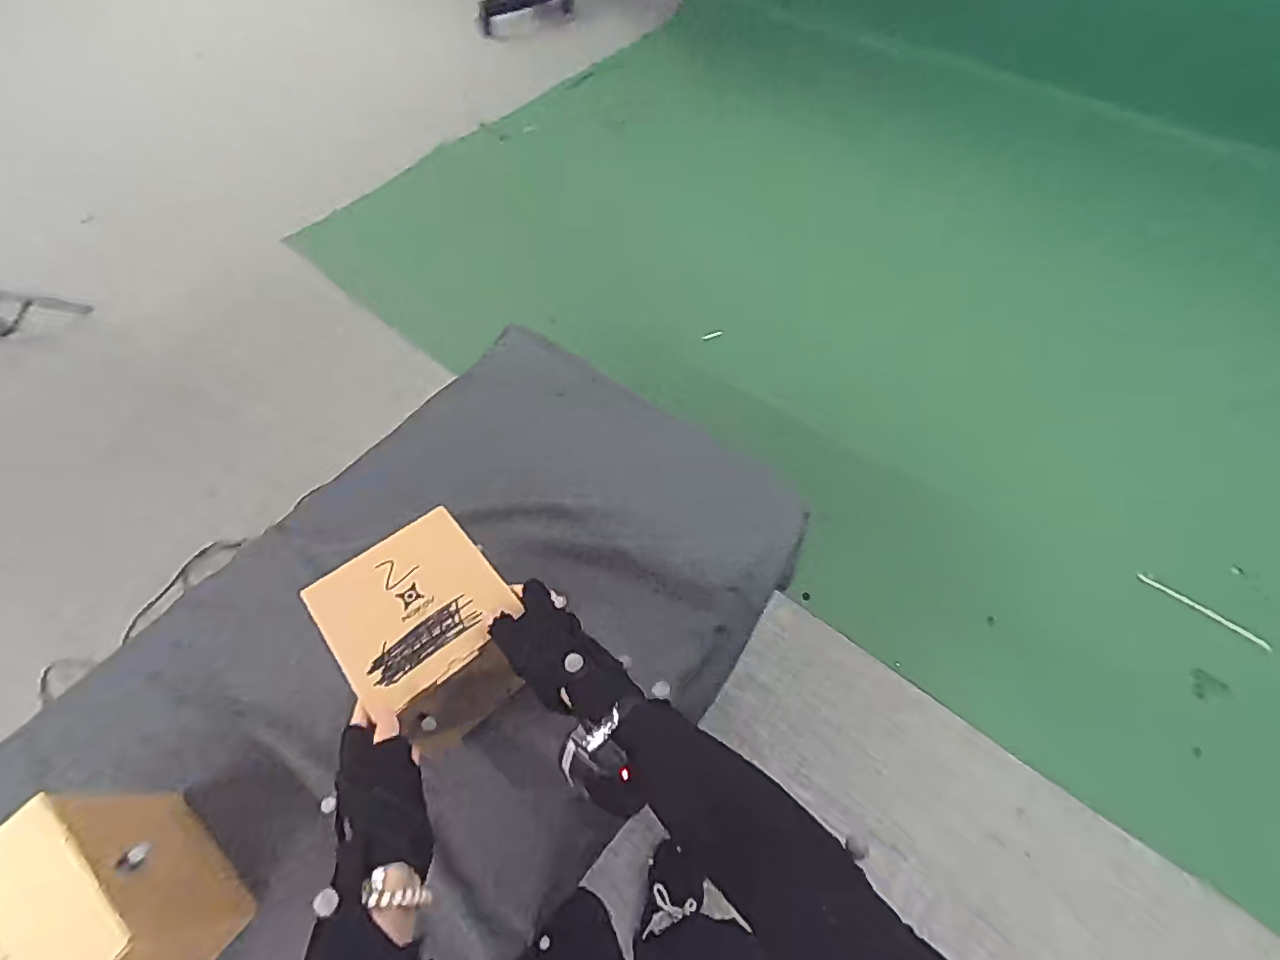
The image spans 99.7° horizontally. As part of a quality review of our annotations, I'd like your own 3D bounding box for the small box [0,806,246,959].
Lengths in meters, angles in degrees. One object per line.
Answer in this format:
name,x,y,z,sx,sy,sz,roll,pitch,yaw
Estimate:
small box,-0.529,0.439,0.501,0.179,0.176,0.168,33,65,19
